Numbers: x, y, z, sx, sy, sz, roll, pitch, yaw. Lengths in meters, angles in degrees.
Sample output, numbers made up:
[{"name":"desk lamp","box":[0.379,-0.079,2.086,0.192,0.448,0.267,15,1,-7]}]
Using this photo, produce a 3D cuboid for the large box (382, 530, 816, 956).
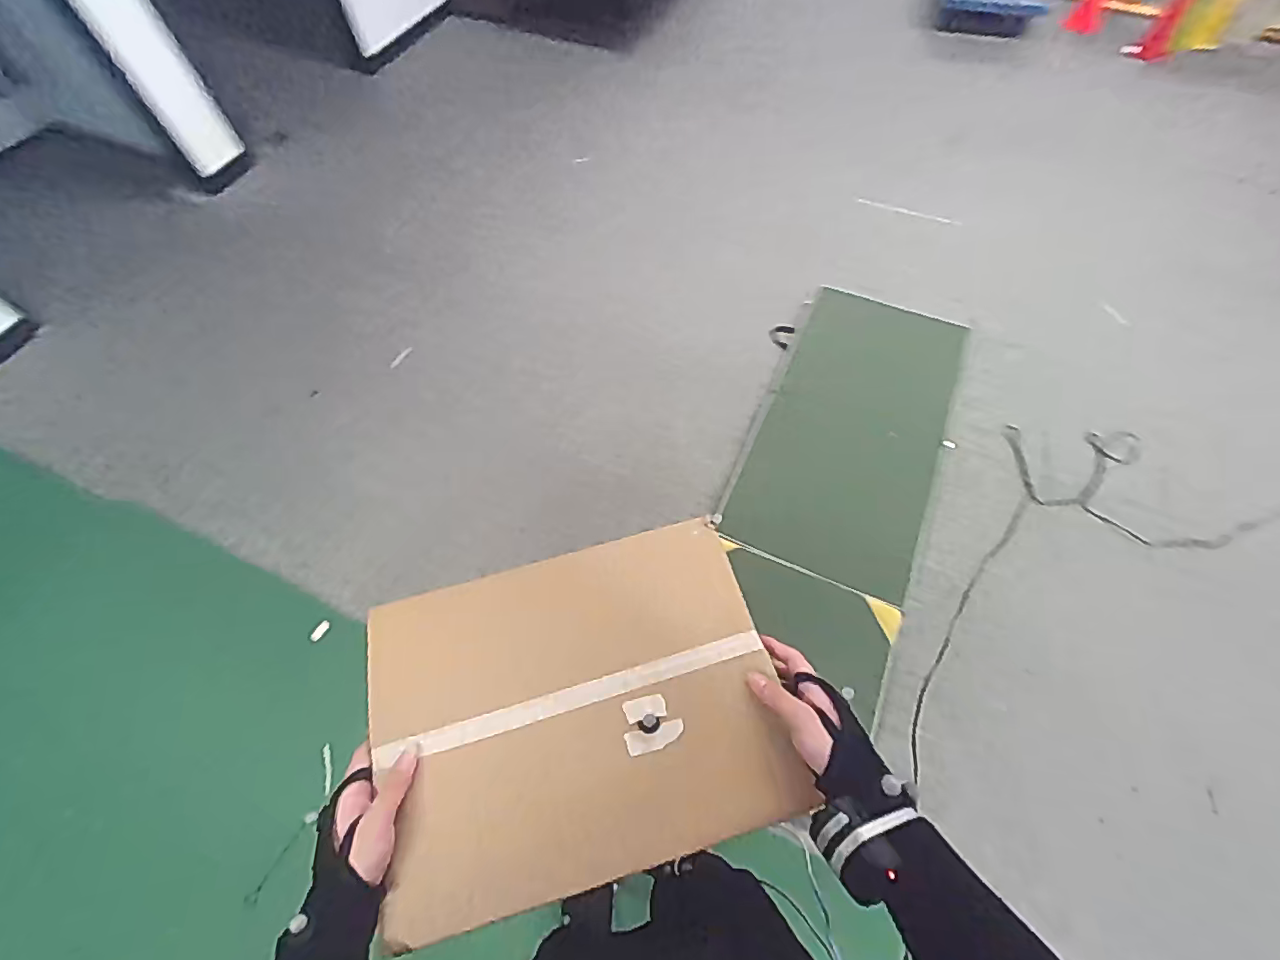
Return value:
[{"name":"large box","box":[-0.058,0.312,0.686,0.408,0.320,0.320,-14,60,-7]}]
